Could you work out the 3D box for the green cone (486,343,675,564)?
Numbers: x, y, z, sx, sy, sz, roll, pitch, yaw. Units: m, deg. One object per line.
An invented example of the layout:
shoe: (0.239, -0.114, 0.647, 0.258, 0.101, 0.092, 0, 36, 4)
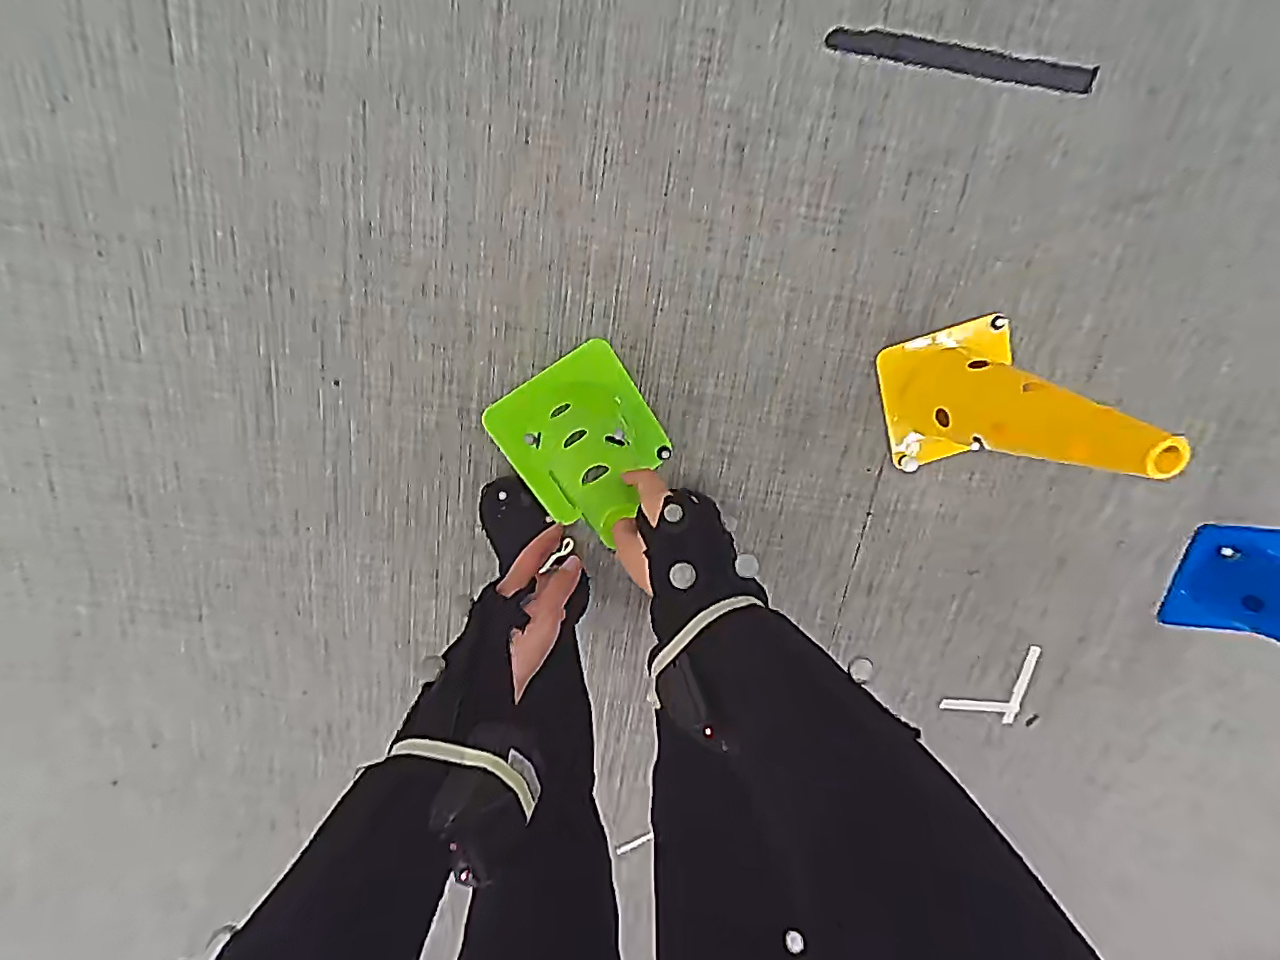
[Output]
green cone: (-0.044, -0.009, 0.573, 0.202, 0.368, 0.200, -34, 109, 0)
